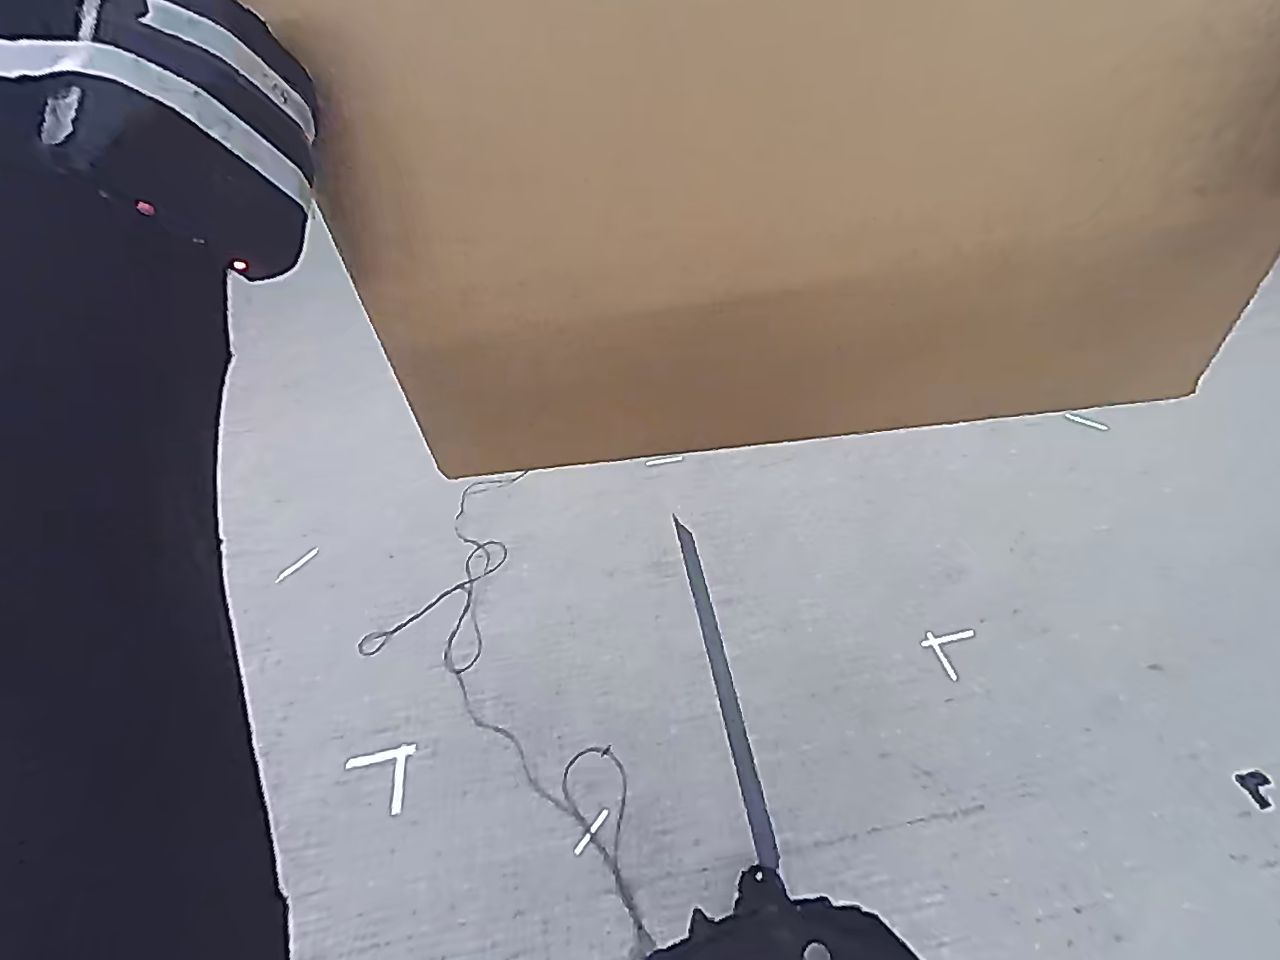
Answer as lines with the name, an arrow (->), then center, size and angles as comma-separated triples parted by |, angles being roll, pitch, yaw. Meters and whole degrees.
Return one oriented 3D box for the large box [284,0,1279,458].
large box -> 0.067, -0.241, 0.326 | 0.408, 0.320, 0.320 | -7, 40, 1
